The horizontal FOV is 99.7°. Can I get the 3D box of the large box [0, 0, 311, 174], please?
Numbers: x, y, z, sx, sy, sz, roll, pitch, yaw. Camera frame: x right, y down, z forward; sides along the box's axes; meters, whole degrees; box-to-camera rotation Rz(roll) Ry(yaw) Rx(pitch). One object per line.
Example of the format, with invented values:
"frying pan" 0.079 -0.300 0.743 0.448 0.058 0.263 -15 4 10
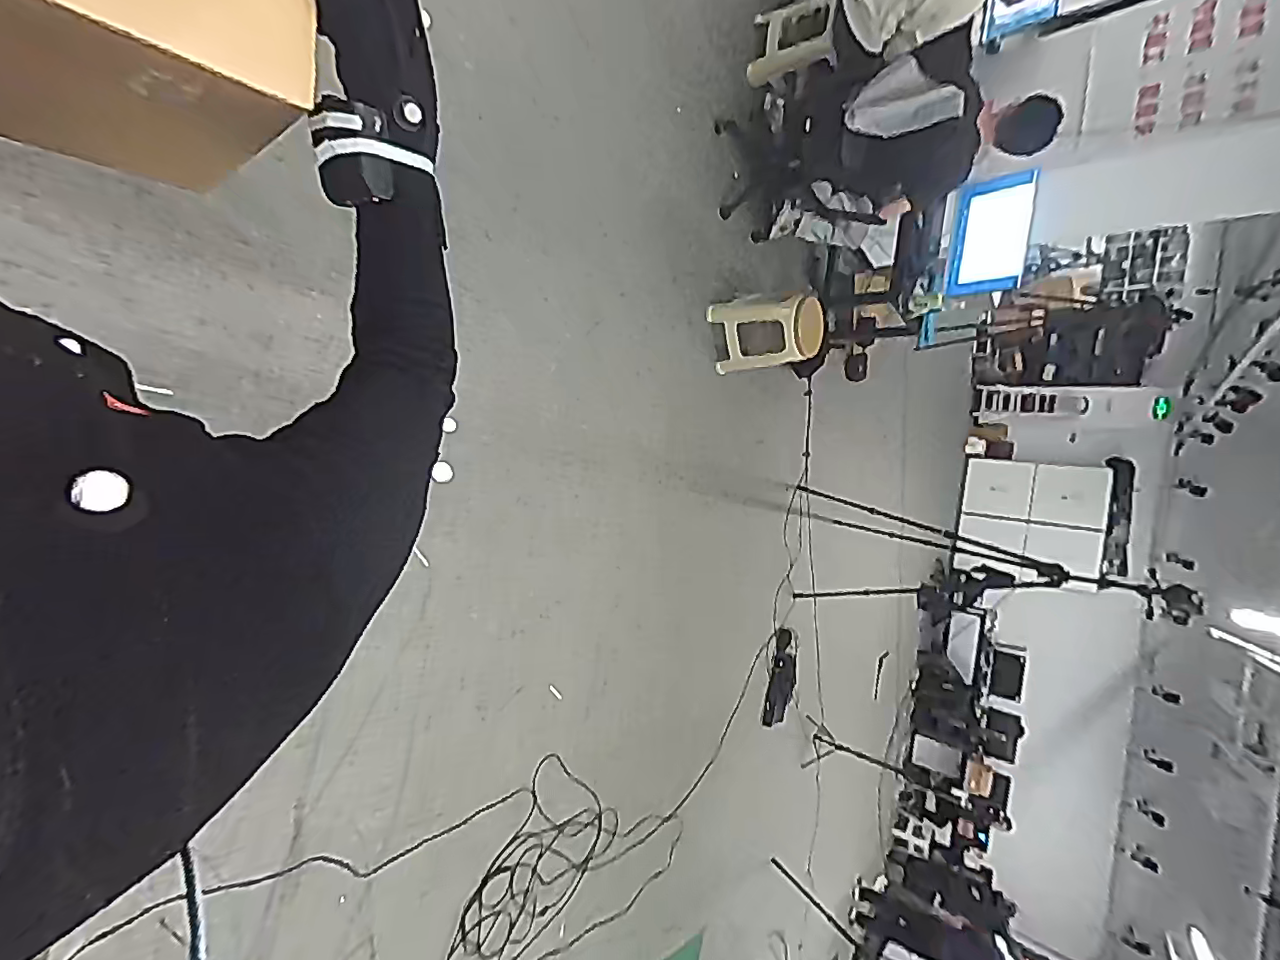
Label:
"large box" -0.464 -0.432 0.305 0.408 0.320 0.320 -5 103 -49
